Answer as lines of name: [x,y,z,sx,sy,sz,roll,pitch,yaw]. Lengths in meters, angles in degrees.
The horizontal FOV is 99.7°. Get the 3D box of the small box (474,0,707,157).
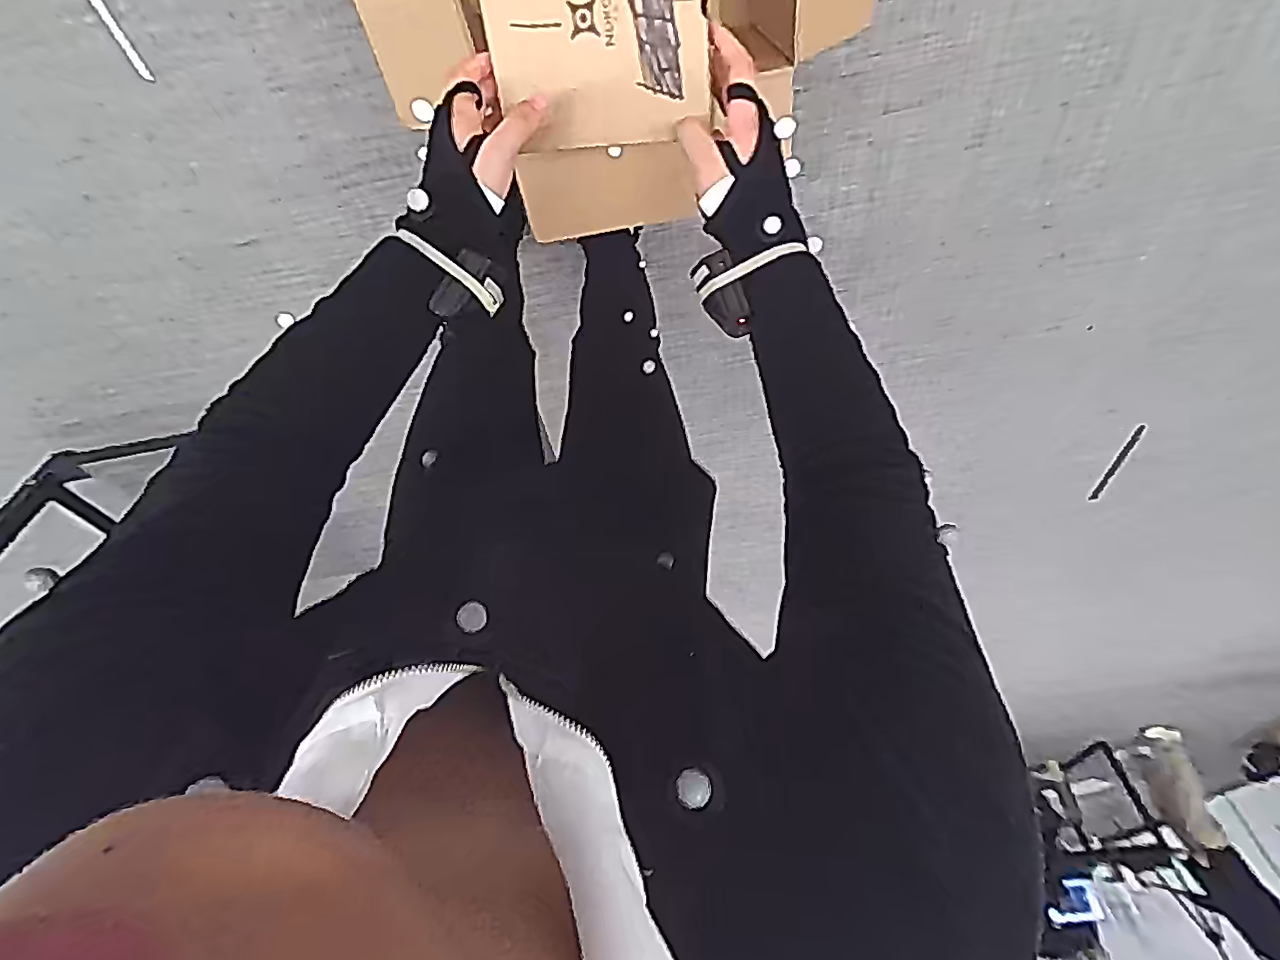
small box: [-0.030,-0.398,0.479,0.179,0.176,0.168,2,128,10]
